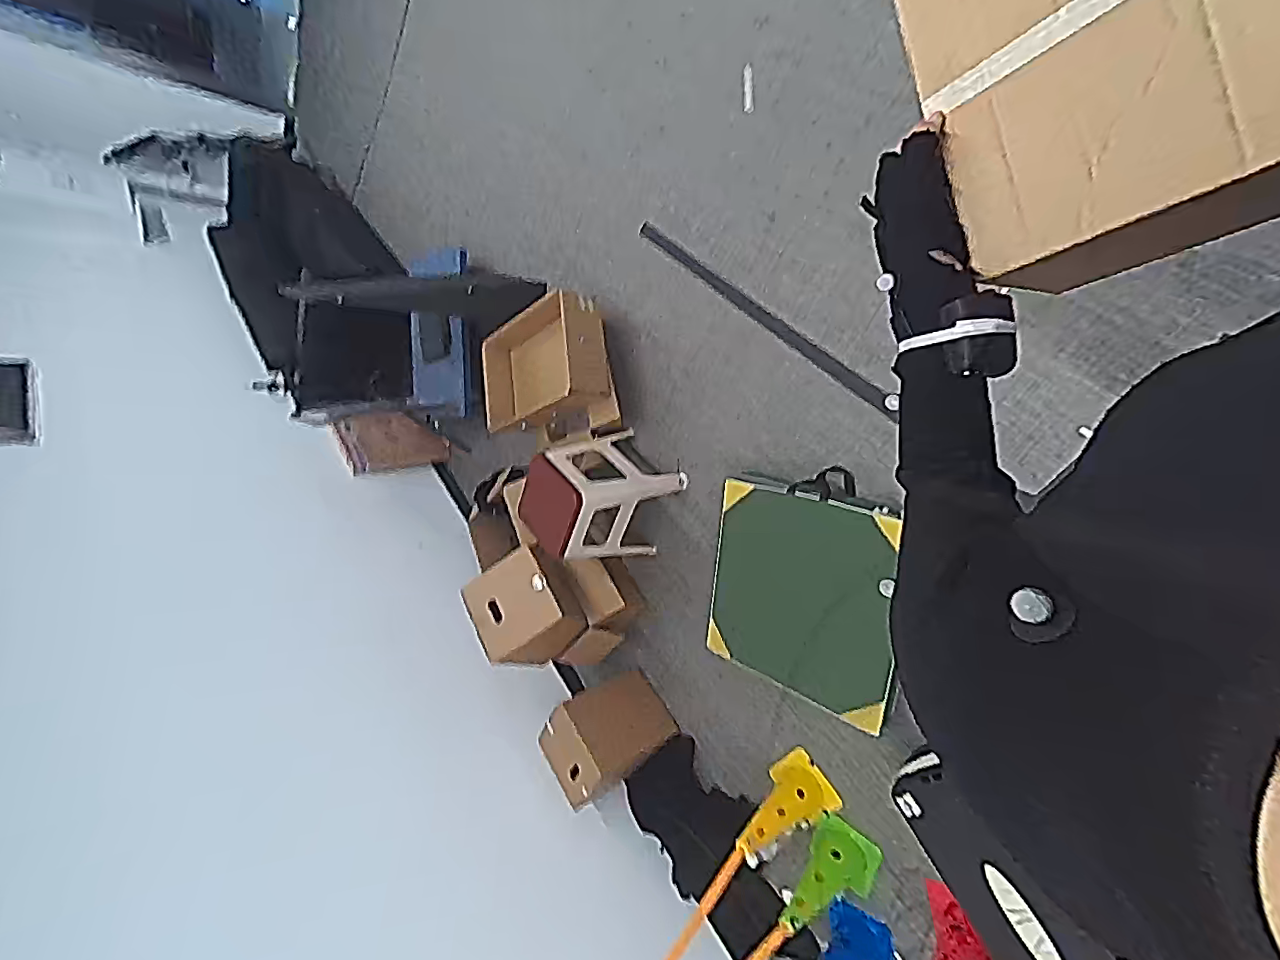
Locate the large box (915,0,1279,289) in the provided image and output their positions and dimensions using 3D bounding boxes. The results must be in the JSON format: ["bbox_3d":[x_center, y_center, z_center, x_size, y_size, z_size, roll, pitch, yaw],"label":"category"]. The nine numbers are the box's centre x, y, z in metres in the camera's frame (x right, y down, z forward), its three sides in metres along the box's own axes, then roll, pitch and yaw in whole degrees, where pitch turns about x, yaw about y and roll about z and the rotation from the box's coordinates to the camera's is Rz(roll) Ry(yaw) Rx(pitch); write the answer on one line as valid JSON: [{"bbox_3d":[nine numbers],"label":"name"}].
[{"bbox_3d":[0.506,-0.389,0.433,0.408,0.320,0.320,-14,91,49],"label":"large box"}]
